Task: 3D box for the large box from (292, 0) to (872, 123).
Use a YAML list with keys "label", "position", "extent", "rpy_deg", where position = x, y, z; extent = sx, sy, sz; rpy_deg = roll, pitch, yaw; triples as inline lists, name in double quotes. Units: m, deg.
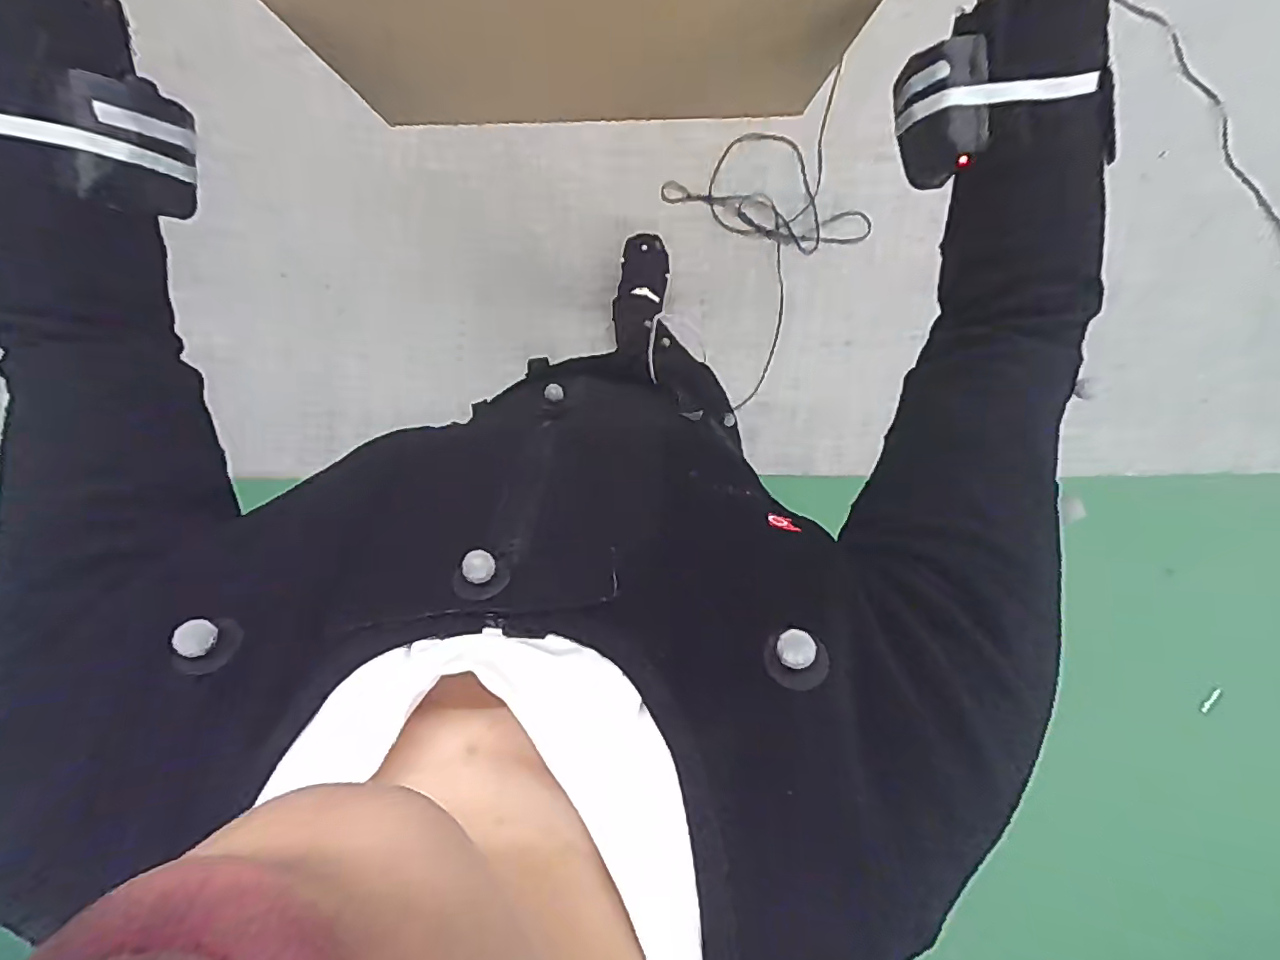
- label: "large box"
  position: [-0.040, -0.472, 0.352]
  extent: [0.408, 0.320, 0.320]
  rpy_deg: [-3, 103, -2]
